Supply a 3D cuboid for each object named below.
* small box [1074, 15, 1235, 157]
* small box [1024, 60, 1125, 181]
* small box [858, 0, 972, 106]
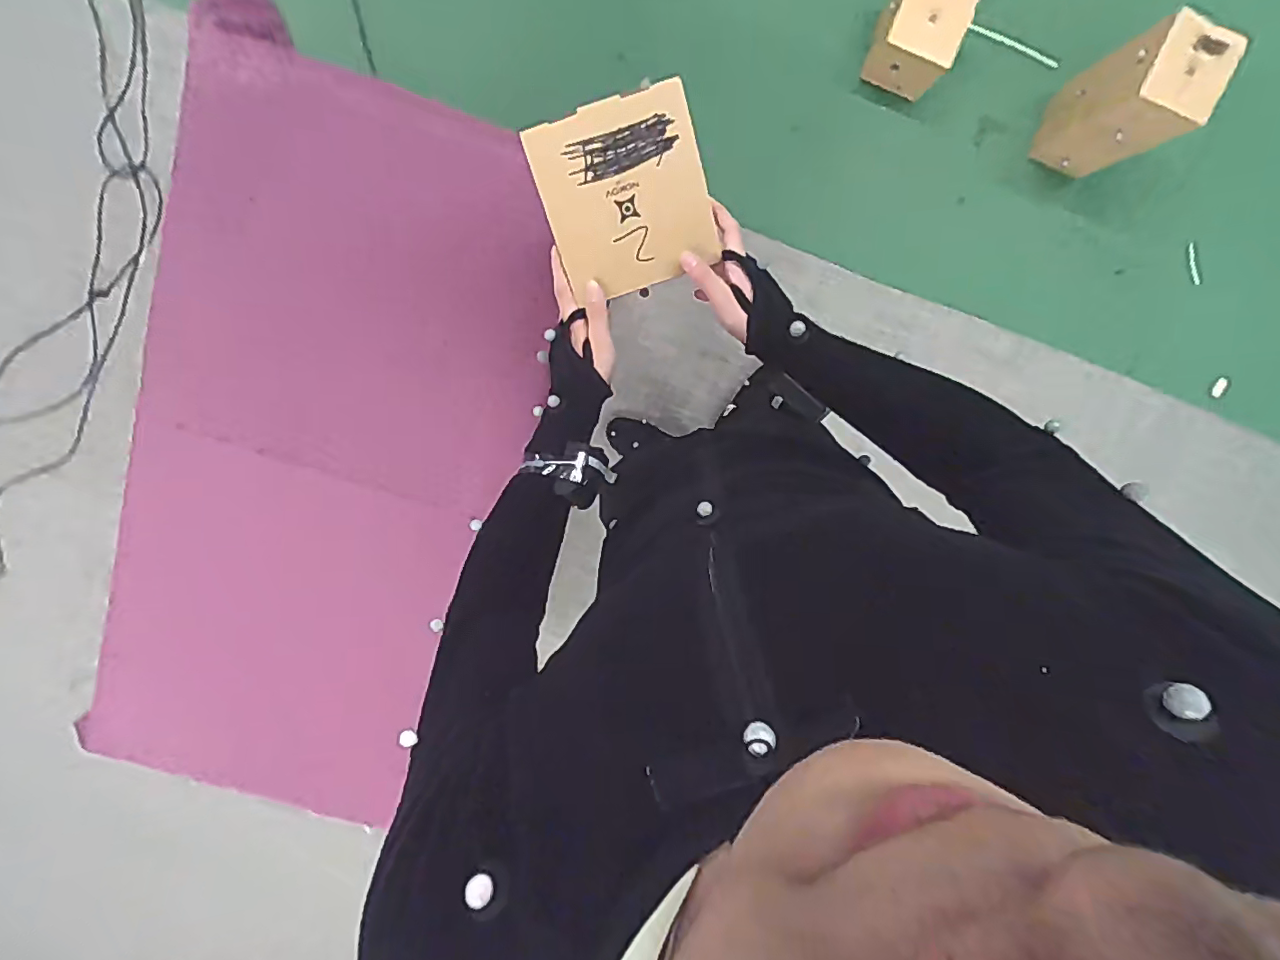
[{"bbox_3d":[1.146,-0.877,1.222,0.168,0.176,0.179,20,100,-5],"label":"small box"},{"bbox_3d":[1.140,-0.908,1.383,0.168,0.176,0.179,20,100,-5],"label":"small box"},{"bbox_3d":[0.670,-1.080,1.344,0.168,0.176,0.179,19,99,-4],"label":"small box"}]
